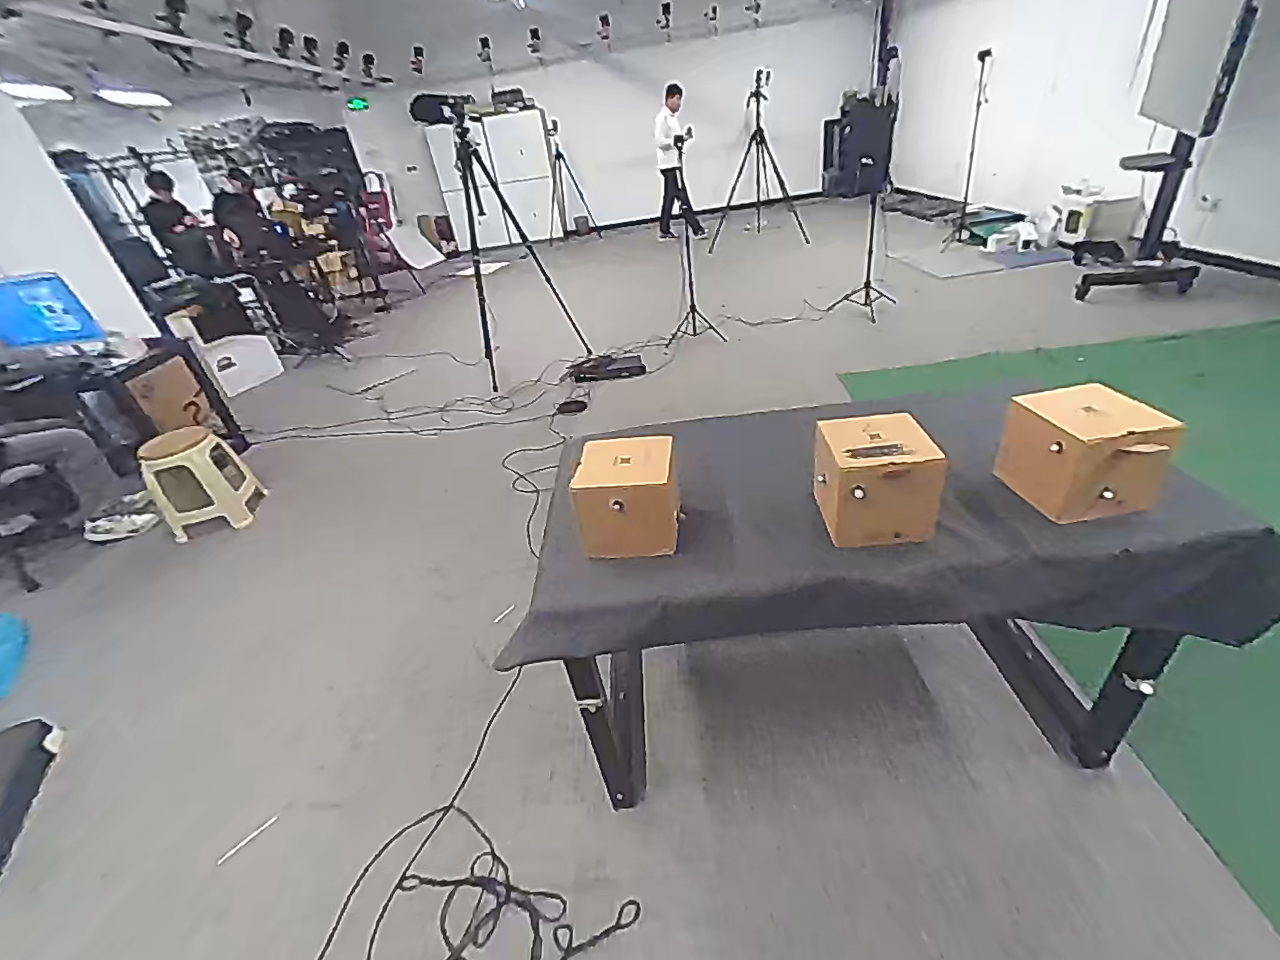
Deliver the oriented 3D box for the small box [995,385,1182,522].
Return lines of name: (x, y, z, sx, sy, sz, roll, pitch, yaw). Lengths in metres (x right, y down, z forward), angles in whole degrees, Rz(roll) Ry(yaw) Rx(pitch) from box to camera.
small box: (0.774, -0.049, 0.961, 0.168, 0.176, 0.179, -10, 33, -1)

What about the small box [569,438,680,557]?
small box: (-0.021, 0.035, 1.033, 0.179, 0.176, 0.168, -2, 34, 8)
